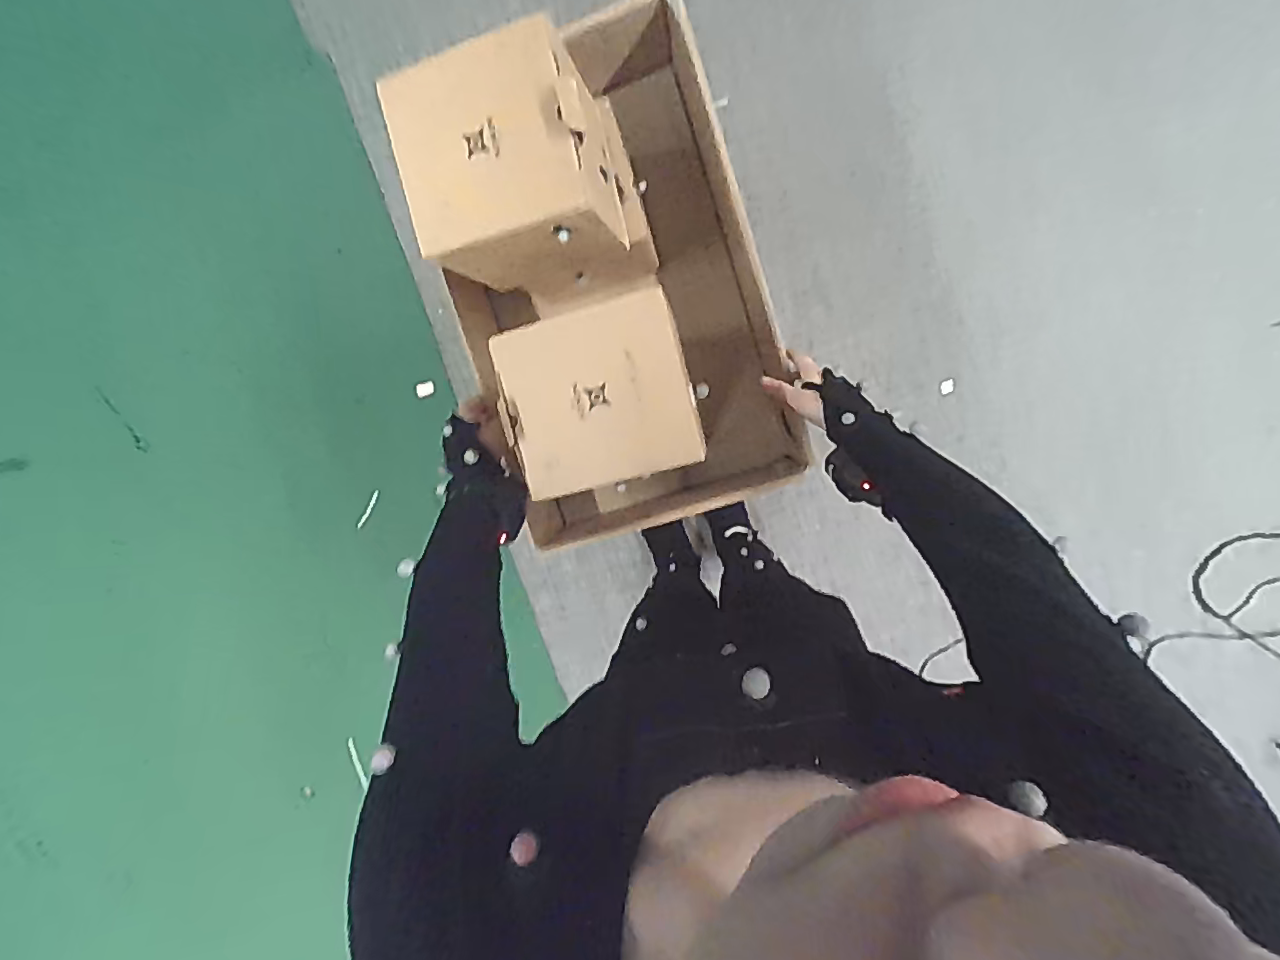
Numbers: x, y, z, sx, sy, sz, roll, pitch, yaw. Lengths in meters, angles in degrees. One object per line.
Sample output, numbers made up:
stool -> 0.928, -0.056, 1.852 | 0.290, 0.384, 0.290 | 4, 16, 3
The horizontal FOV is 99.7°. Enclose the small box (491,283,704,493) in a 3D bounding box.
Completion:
small box -> -0.032, -0.093, 0.593 | 0.179, 0.176, 0.168 | -14, 95, 9

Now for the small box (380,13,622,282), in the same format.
small box -> -0.132, -0.326, 0.575 | 0.179, 0.176, 0.168 | -12, 97, 10
